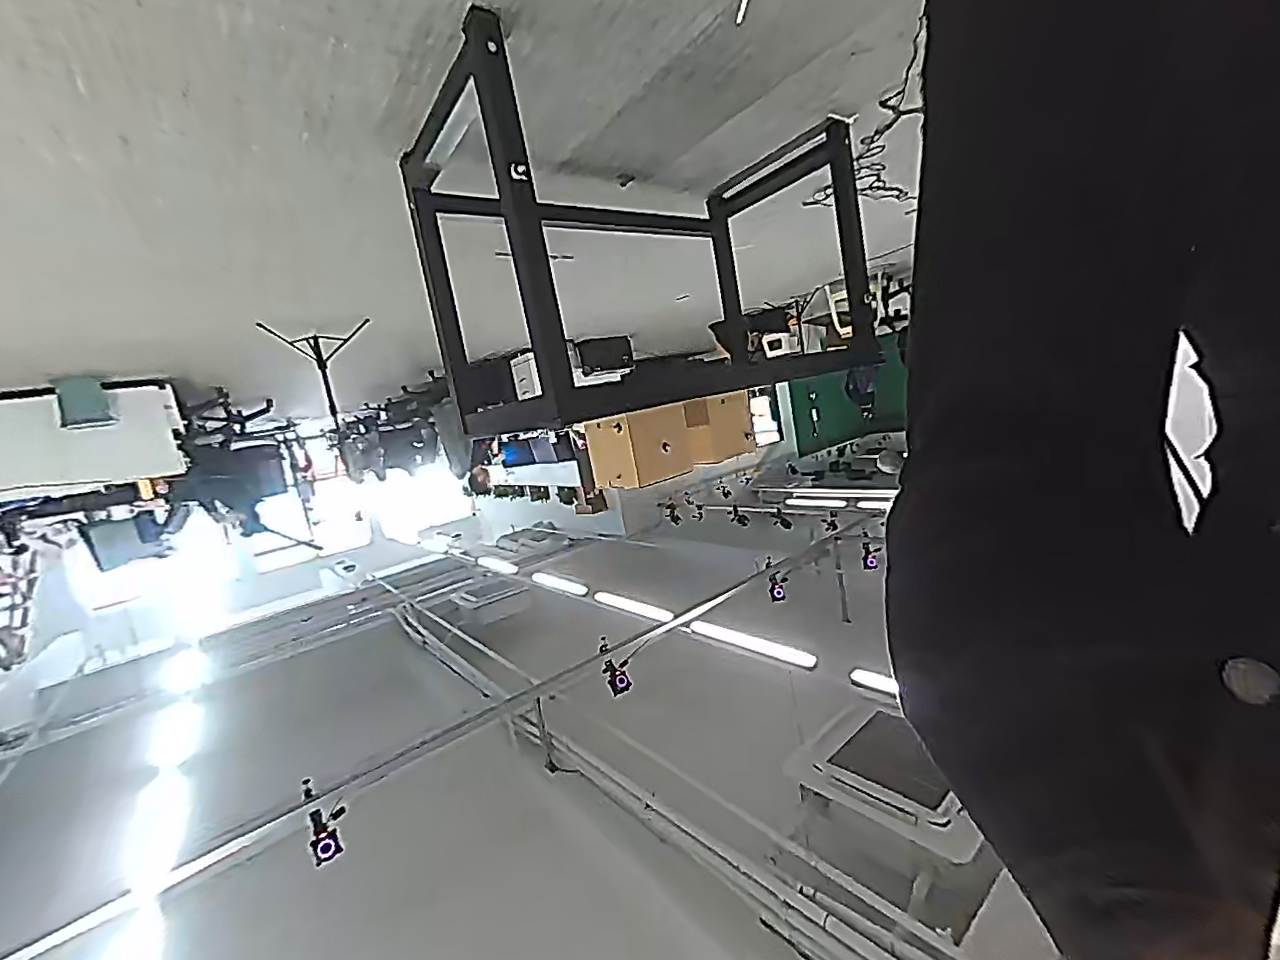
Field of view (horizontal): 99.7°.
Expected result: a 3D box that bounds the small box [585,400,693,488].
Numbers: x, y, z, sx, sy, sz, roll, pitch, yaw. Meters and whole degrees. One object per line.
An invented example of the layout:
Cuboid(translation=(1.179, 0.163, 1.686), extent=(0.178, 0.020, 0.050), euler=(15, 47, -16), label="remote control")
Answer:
Cuboid(translation=(-0.006, -0.083, 1.262), extent=(0.179, 0.176, 0.168), euler=(-18, -169, -38), label="small box")
